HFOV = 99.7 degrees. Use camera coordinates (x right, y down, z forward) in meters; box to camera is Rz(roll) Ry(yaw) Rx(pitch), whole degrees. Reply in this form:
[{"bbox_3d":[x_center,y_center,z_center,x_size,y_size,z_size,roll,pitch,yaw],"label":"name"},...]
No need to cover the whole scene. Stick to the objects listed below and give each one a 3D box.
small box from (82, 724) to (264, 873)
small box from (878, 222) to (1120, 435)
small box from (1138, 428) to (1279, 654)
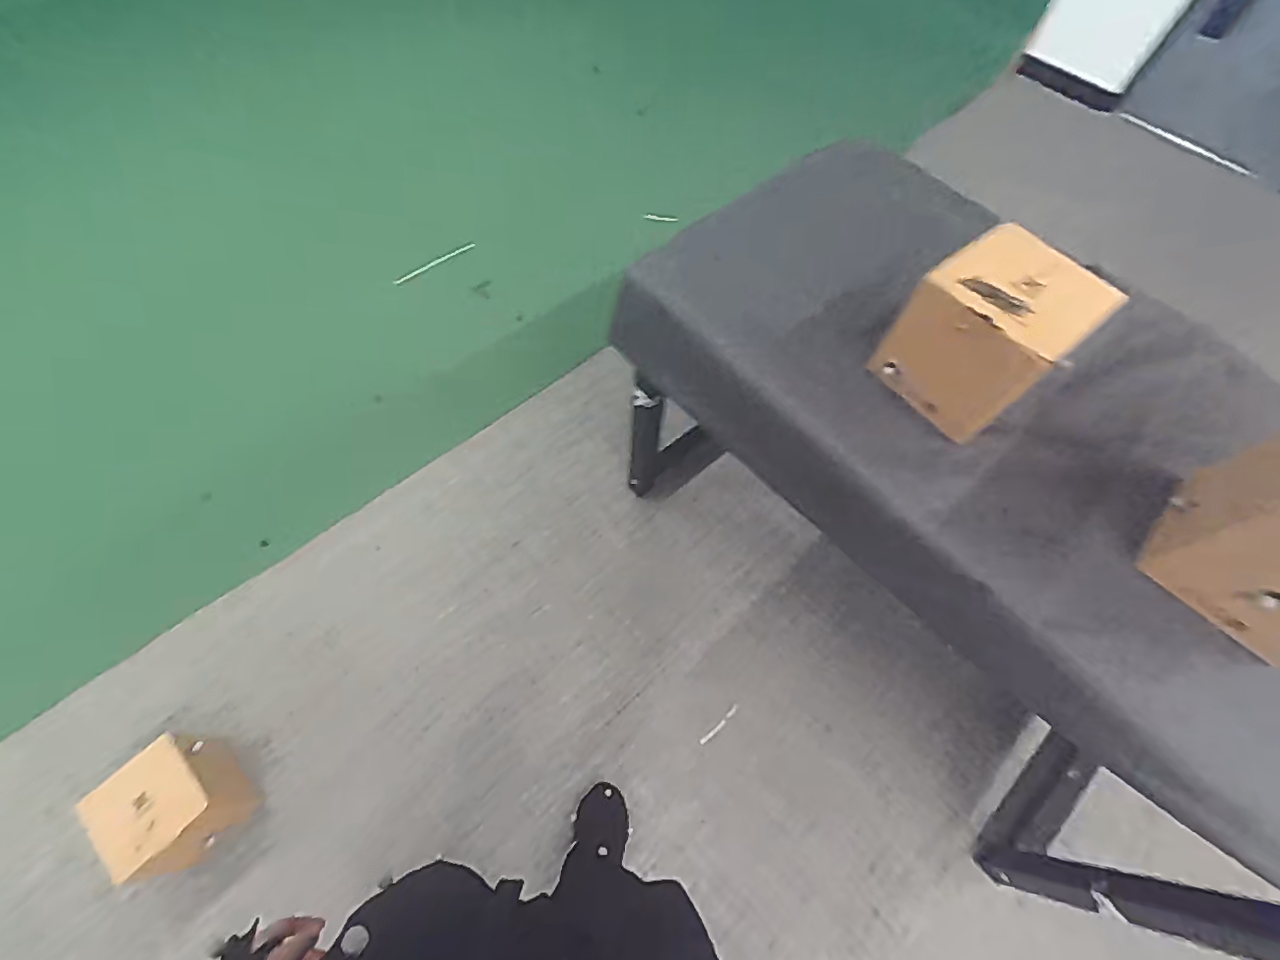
[{"bbox_3d":[-0.882,0.603,1.038,0.179,0.176,0.168,41,68,17],"label":"small box"},{"bbox_3d":[0.443,-0.190,0.703,0.179,0.176,0.168,-34,69,-20],"label":"small box"},{"bbox_3d":[0.710,0.063,0.587,0.179,0.176,0.168,-39,71,-20],"label":"small box"}]
